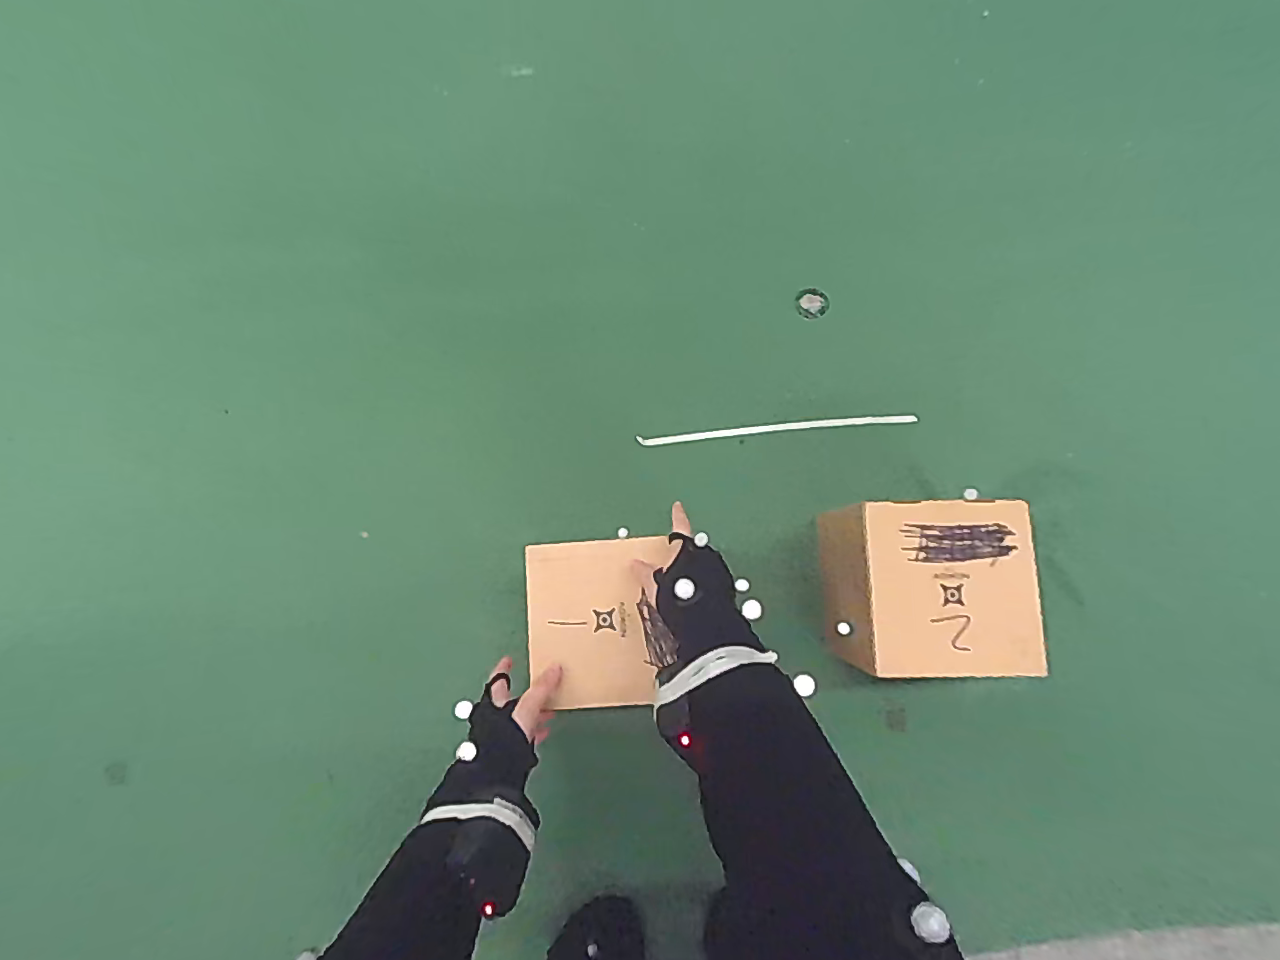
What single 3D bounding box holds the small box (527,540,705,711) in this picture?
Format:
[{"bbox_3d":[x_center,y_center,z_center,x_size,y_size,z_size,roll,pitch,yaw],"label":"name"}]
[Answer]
[{"bbox_3d":[-0.023,0.157,0.626,0.179,0.176,0.168,-4,80,3],"label":"small box"}]
